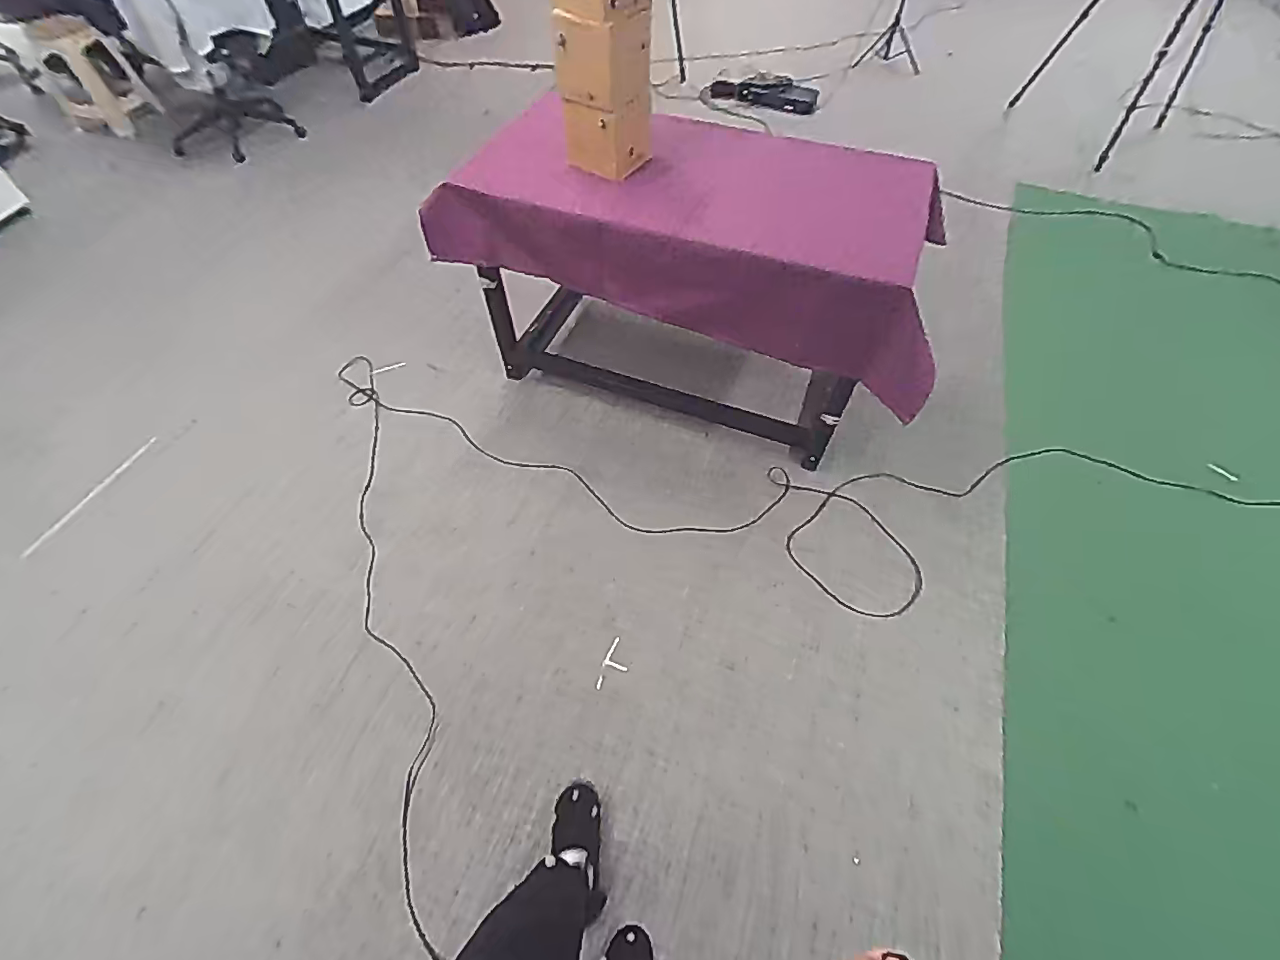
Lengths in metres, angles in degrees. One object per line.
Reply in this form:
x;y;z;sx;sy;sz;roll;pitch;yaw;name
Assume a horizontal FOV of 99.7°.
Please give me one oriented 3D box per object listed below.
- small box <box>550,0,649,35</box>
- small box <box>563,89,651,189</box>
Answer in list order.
-0.090;-1.126;1.206;0.179;0.176;0.168;35;61;22;small box
-0.087;-0.921;1.464;0.179;0.176;0.168;28;59;17;small box
